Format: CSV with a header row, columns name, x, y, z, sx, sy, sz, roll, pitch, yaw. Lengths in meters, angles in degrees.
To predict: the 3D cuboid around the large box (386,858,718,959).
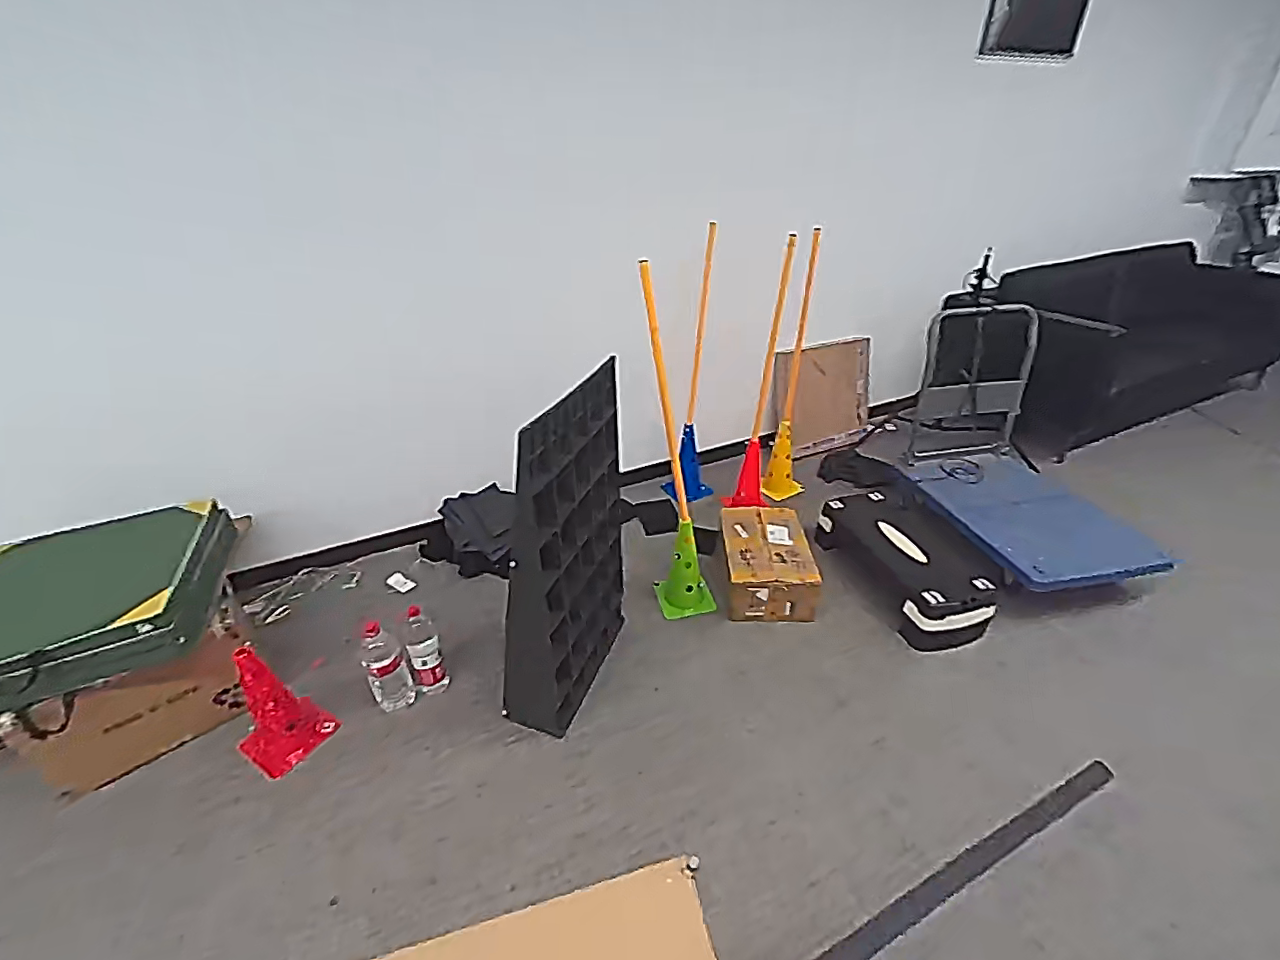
name,x,y,z,sx,sy,sz,roll,pitch,yaw
large box,-0.096,0.662,0.542,0.408,0.320,0.320,-11,43,-11
